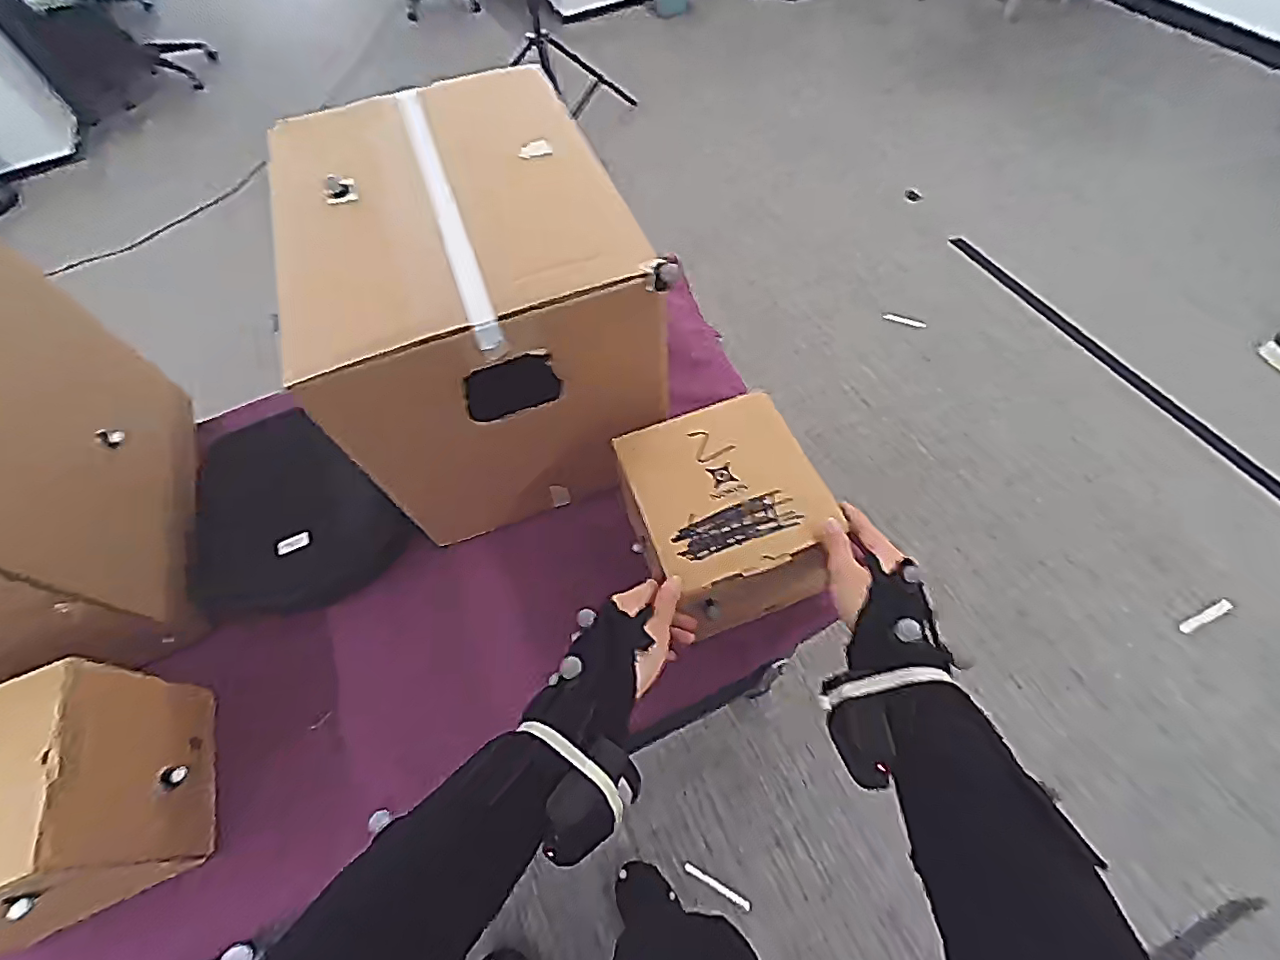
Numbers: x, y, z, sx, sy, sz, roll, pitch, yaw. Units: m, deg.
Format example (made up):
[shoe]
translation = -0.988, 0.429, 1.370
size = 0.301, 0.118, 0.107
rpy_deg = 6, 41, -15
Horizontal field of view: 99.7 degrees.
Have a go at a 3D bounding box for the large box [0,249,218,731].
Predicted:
[large box]
translation = -0.730, 0.020, 0.578
size = 0.320, 0.320, 0.408
rpy_deg = -25, 63, -10
